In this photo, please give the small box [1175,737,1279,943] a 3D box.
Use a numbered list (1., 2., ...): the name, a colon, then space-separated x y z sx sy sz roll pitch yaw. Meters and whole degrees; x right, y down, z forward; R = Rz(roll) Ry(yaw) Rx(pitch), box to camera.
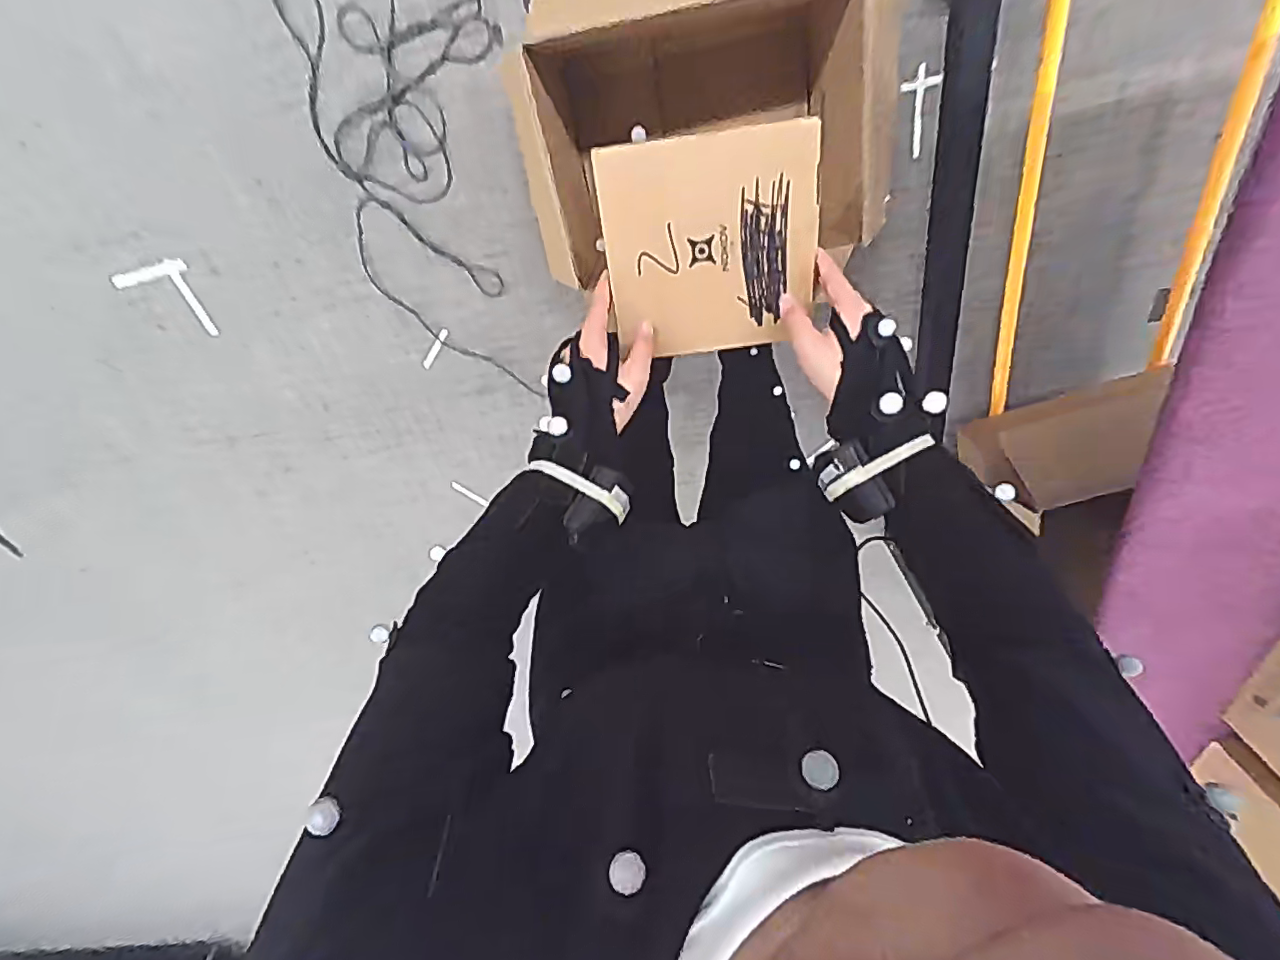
1. small box: 0.811 0.419 0.631 0.179 0.176 0.168 -6 123 5
